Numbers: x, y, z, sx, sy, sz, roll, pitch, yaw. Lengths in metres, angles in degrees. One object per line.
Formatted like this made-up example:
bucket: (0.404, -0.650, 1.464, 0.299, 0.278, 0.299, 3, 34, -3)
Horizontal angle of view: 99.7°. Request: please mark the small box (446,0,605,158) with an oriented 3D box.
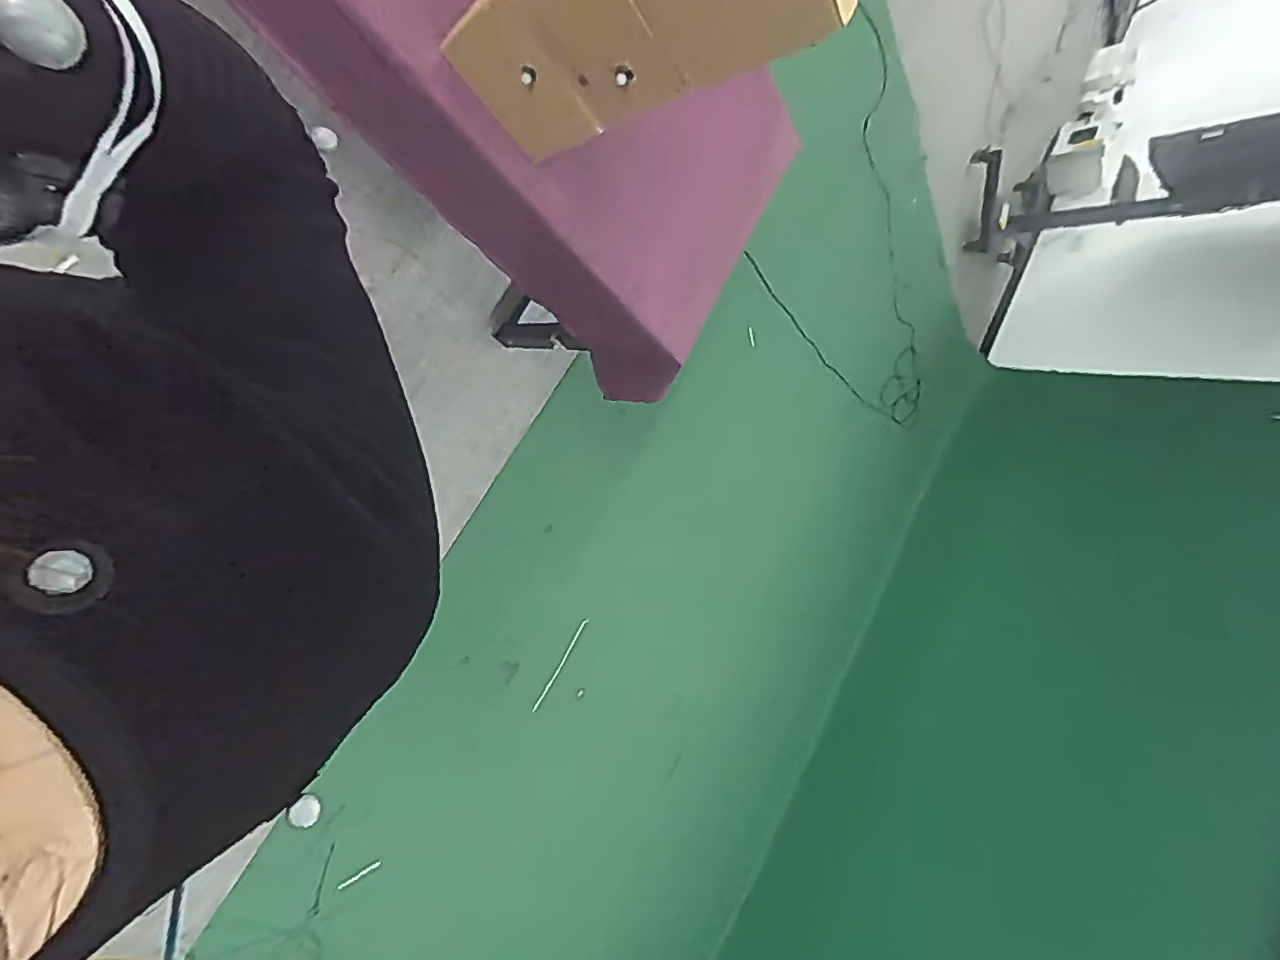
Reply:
small box: (-0.121, -0.569, 0.715, 0.179, 0.176, 0.168, 40, 74, -42)
